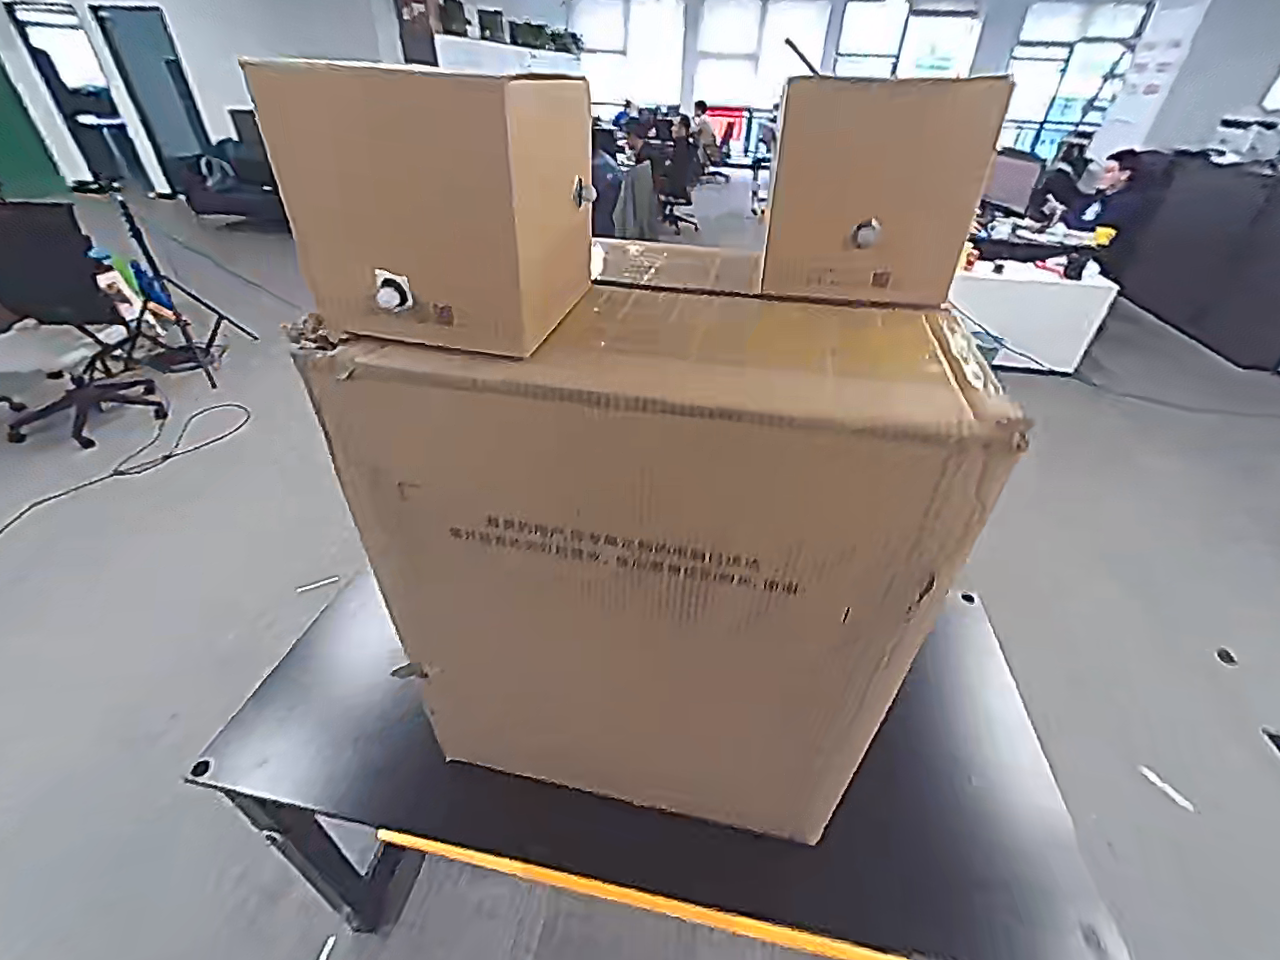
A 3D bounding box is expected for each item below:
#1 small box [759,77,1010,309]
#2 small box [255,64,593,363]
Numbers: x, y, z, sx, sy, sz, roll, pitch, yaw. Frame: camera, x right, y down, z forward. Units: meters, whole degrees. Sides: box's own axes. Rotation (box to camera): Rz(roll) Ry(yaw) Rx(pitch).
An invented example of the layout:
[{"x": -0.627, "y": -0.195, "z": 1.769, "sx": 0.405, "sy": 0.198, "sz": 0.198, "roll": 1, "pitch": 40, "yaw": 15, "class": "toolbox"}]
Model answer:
[{"x": 0.209, "y": -0.278, "z": 0.524, "sx": 0.168, "sy": 0.176, "sz": 0.179, "roll": 6, "pitch": 34, "yaw": 8, "class": "small box"}, {"x": -0.137, "y": -0.210, "z": 0.421, "sx": 0.168, "sy": 0.176, "sz": 0.179, "roll": 8, "pitch": 38, "yaw": 7, "class": "small box"}]
